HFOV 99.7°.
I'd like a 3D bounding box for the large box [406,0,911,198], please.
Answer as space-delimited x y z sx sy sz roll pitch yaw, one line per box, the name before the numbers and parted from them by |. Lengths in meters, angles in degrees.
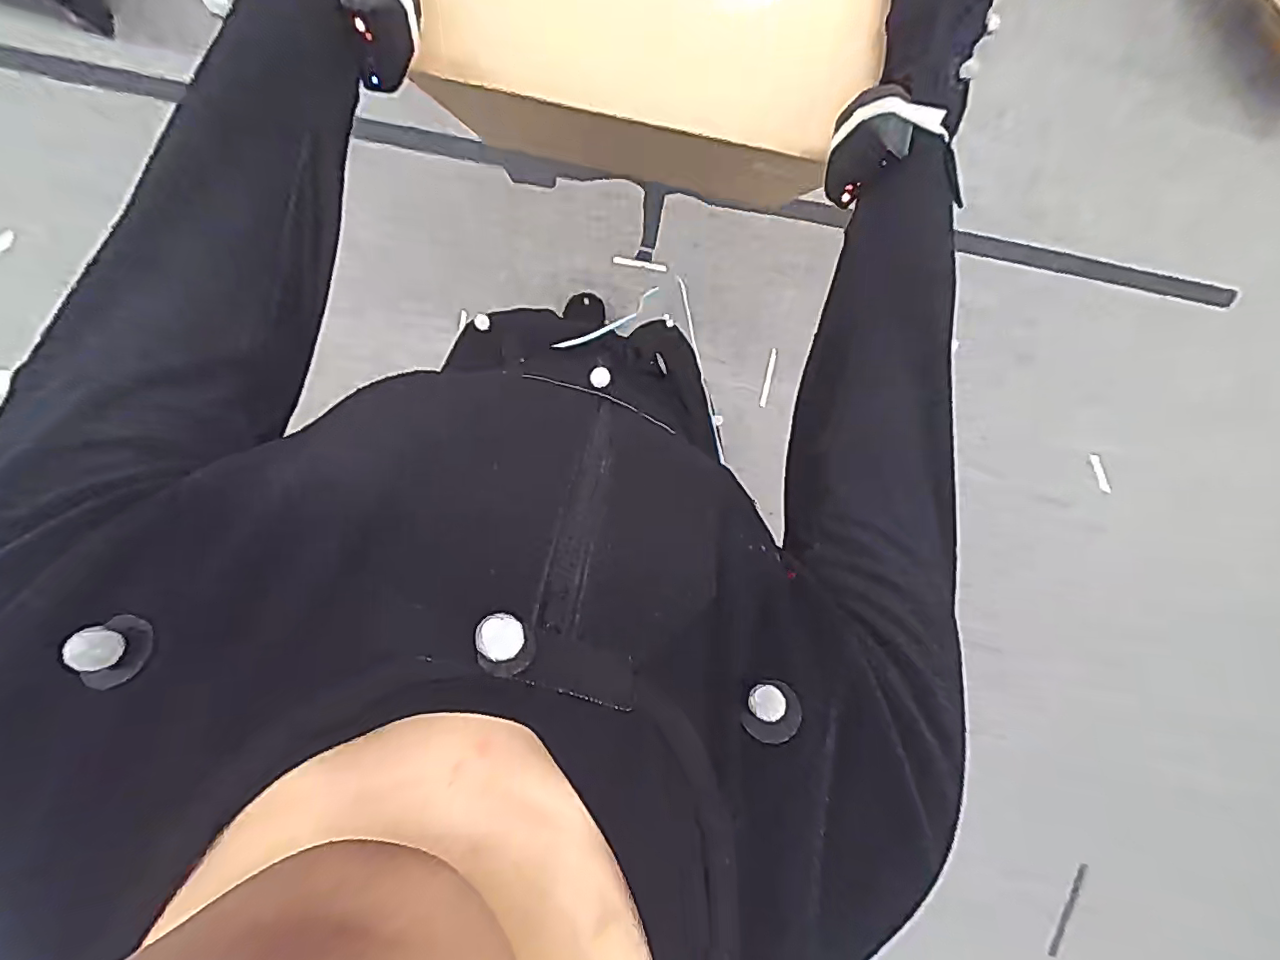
large box | 0.025 -0.504 0.541 0.408 0.320 0.320 10 112 -5
